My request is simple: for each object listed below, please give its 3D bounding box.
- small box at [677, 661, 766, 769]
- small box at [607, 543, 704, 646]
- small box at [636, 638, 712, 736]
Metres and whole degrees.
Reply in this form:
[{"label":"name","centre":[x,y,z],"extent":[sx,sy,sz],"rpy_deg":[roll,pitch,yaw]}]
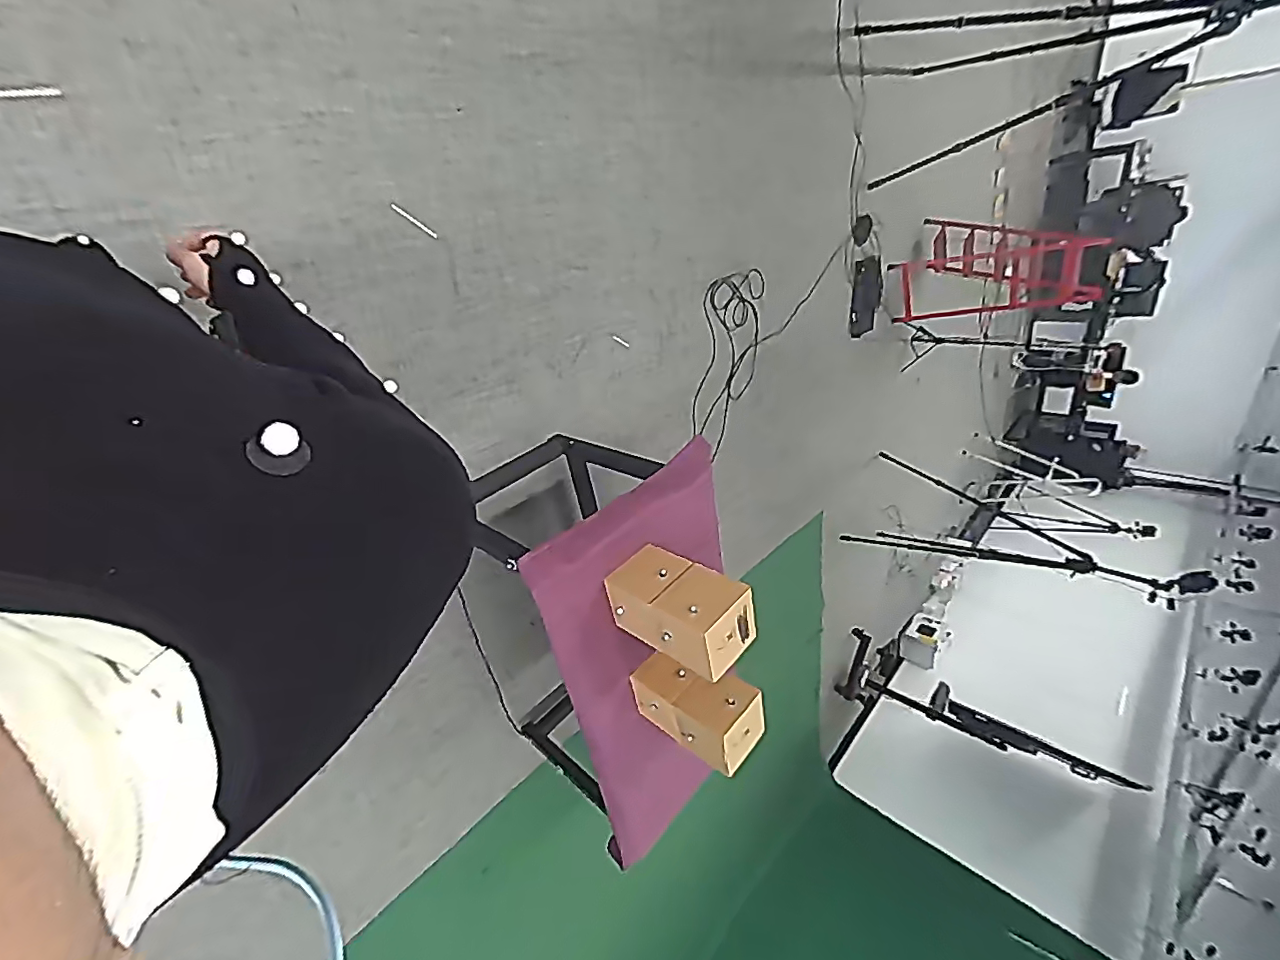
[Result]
[{"label":"small box","centre":[0.224,0.633,1.482],"extent":[0.179,0.176,0.168],"rpy_deg":[-34,125,-36]},{"label":"small box","centre":[0.041,0.289,1.414],"extent":[0.179,0.176,0.168],"rpy_deg":[-35,126,-34]},{"label":"small box","centre":[0.103,0.599,1.588],"extent":[0.179,0.176,0.168],"rpy_deg":[-36,126,-35]}]
